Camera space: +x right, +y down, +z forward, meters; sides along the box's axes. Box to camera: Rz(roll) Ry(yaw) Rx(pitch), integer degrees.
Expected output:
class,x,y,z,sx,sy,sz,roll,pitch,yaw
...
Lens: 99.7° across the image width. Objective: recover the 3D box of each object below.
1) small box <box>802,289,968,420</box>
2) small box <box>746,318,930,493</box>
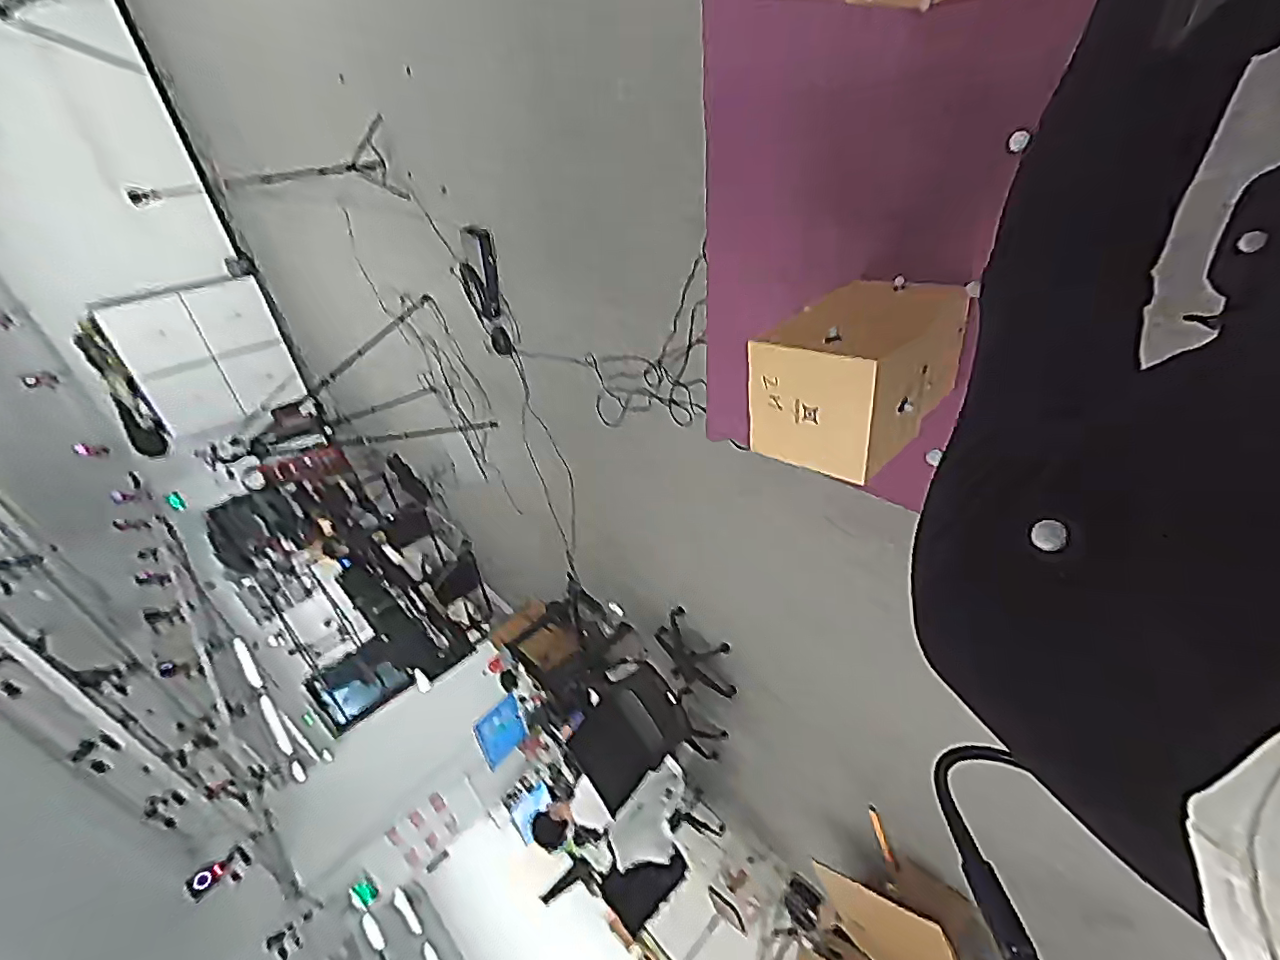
class,x,y,z,sx,sy,sz,roll,pitch,yaw
small box,0.368,-0.189,0.833,0.179,0.176,0.168,23,134,42
small box,0.263,-0.111,0.730,0.179,0.176,0.168,24,133,40
